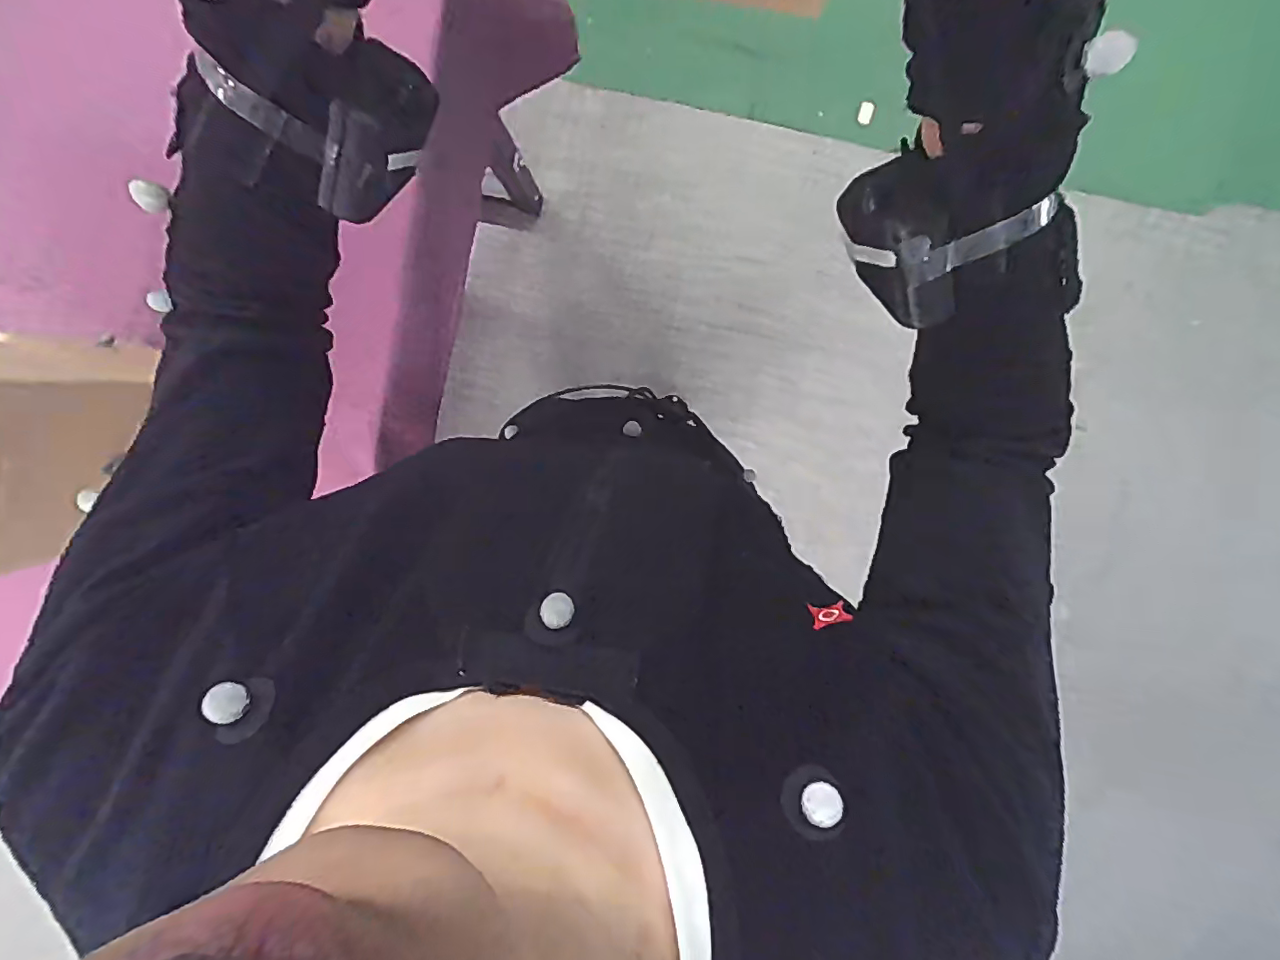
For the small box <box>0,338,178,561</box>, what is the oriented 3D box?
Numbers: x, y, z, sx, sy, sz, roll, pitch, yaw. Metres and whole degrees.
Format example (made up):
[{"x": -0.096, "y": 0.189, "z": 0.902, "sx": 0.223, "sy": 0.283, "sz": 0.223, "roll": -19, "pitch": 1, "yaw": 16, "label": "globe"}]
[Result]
[{"x": -0.584, "y": -0.036, "z": 0.491, "sx": 0.179, "sy": 0.176, "sz": 0.168, "roll": 14, "pitch": 100, "yaw": -2, "label": "small box"}]

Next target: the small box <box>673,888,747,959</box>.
[{"x": 0.200, "y": 1.350, "z": 1.592, "sx": 0.179, "sy": 0.176, "sz": 0.168, "roll": 11, "pitch": 98, "yaw": -1, "label": "small box"}]

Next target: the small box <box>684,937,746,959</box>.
[{"x": 0.199, "y": 1.374, "z": 1.429, "sx": 0.168, "sy": 0.176, "sz": 0.179, "roll": 10, "pitch": 99, "yaw": -1, "label": "small box"}]
